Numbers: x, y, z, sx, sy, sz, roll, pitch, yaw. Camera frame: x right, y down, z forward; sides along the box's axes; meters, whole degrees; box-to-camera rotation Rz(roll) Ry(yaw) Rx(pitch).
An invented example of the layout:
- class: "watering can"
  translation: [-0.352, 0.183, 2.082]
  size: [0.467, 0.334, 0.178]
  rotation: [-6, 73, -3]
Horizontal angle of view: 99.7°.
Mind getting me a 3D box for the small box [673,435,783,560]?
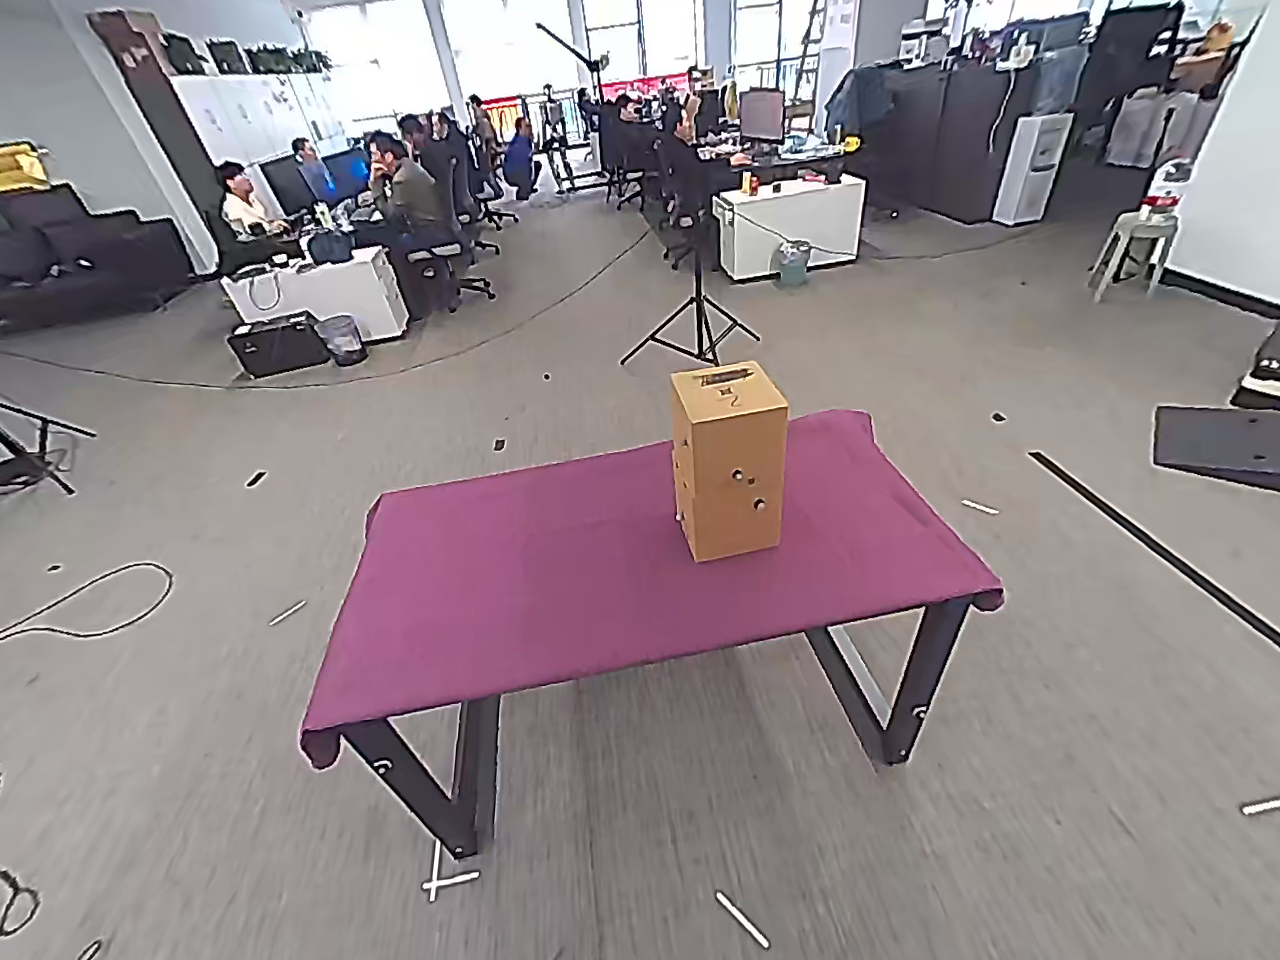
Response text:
- class: "small box"
  translation: [0.172, 0.036, 1.089]
  size: [0.179, 0.176, 0.168]
  rotation: [-12, 37, -4]
